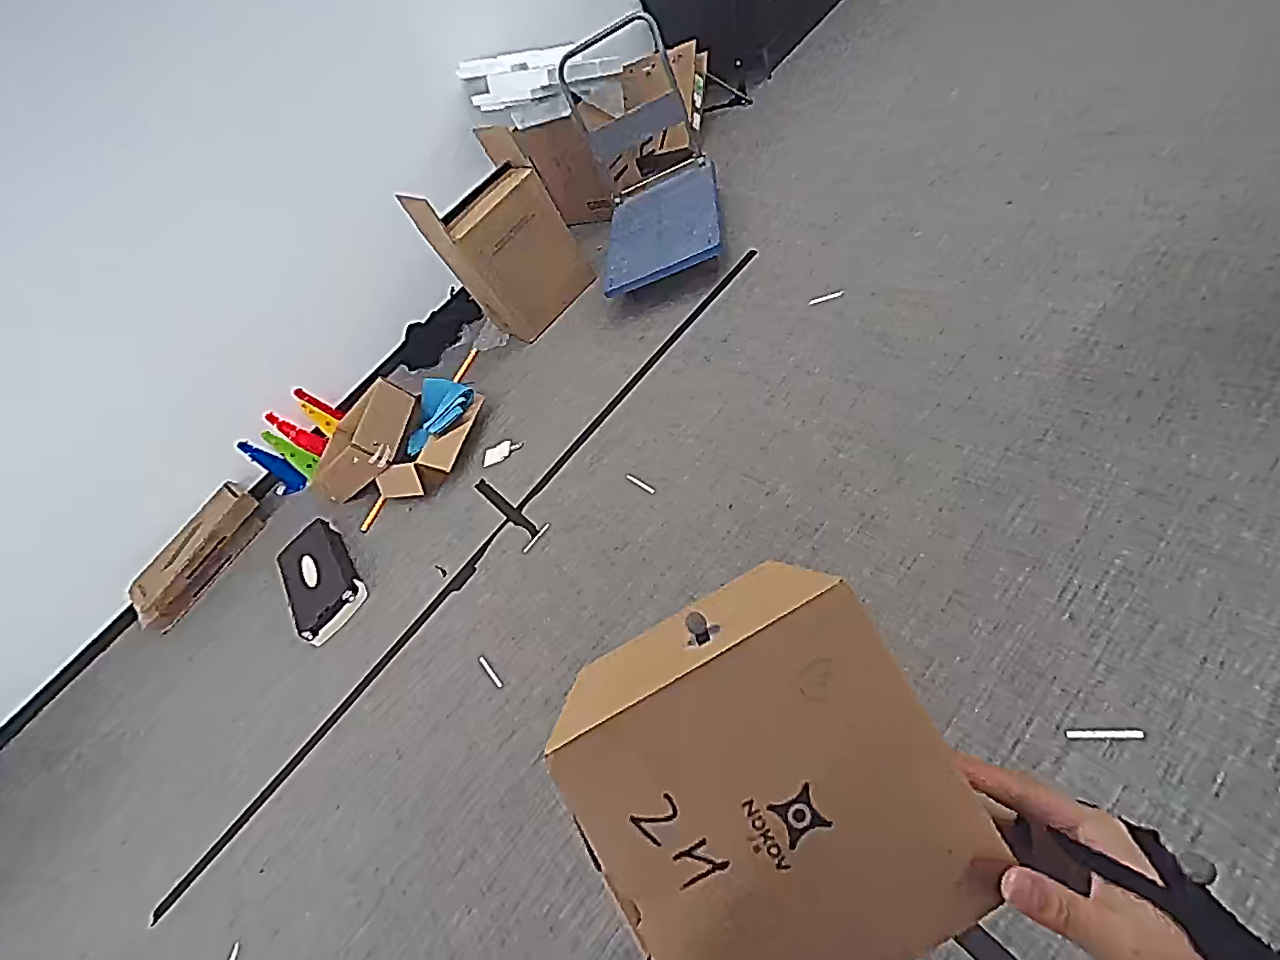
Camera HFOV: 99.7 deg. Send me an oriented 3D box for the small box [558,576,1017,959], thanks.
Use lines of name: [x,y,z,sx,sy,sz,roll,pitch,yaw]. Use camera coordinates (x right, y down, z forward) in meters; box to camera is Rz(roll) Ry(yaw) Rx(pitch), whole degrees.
small box: [0.070,0.173,0.343,0.179,0.176,0.168,-29,84,-2]
